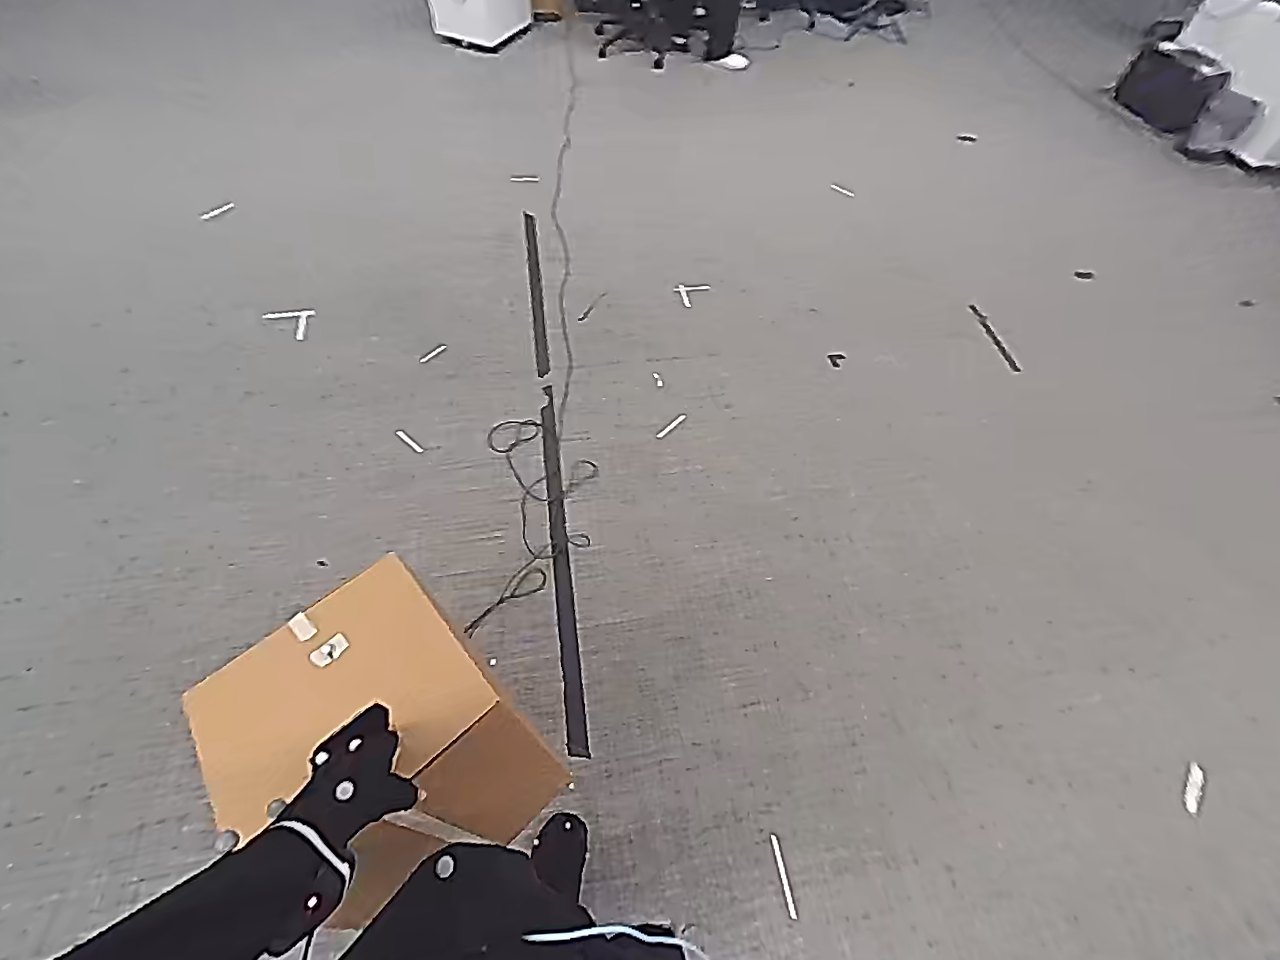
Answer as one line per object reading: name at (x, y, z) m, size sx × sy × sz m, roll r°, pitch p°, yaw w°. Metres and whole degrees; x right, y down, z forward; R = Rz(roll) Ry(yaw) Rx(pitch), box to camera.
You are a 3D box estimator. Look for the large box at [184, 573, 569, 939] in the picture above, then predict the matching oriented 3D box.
large box at (-0.362, 0.416, 0.827) m, size 0.320 × 0.408 × 0.320 m, roll -38°, pitch 55°, yaw -21°
